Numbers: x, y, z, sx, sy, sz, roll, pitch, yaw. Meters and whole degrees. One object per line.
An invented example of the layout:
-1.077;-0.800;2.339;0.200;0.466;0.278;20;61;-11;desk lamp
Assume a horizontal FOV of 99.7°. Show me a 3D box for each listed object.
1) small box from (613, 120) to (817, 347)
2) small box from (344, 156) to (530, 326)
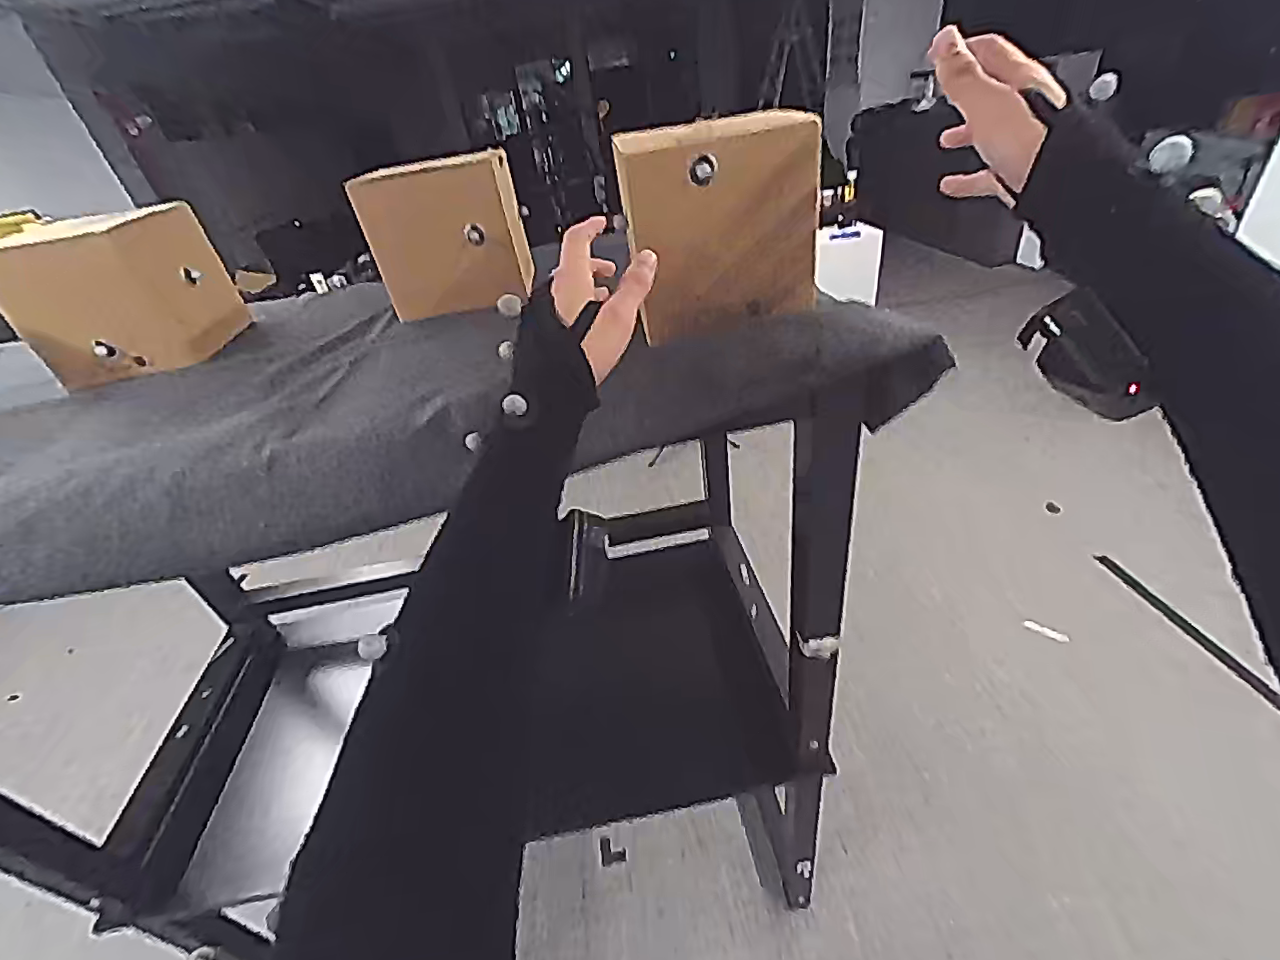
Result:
0.067;-0.251;0.548;0.168;0.176;0.179;-10;34;1;small box
-0.255;-0.325;0.734;0.179;0.176;0.168;-10;35;-1;small box
